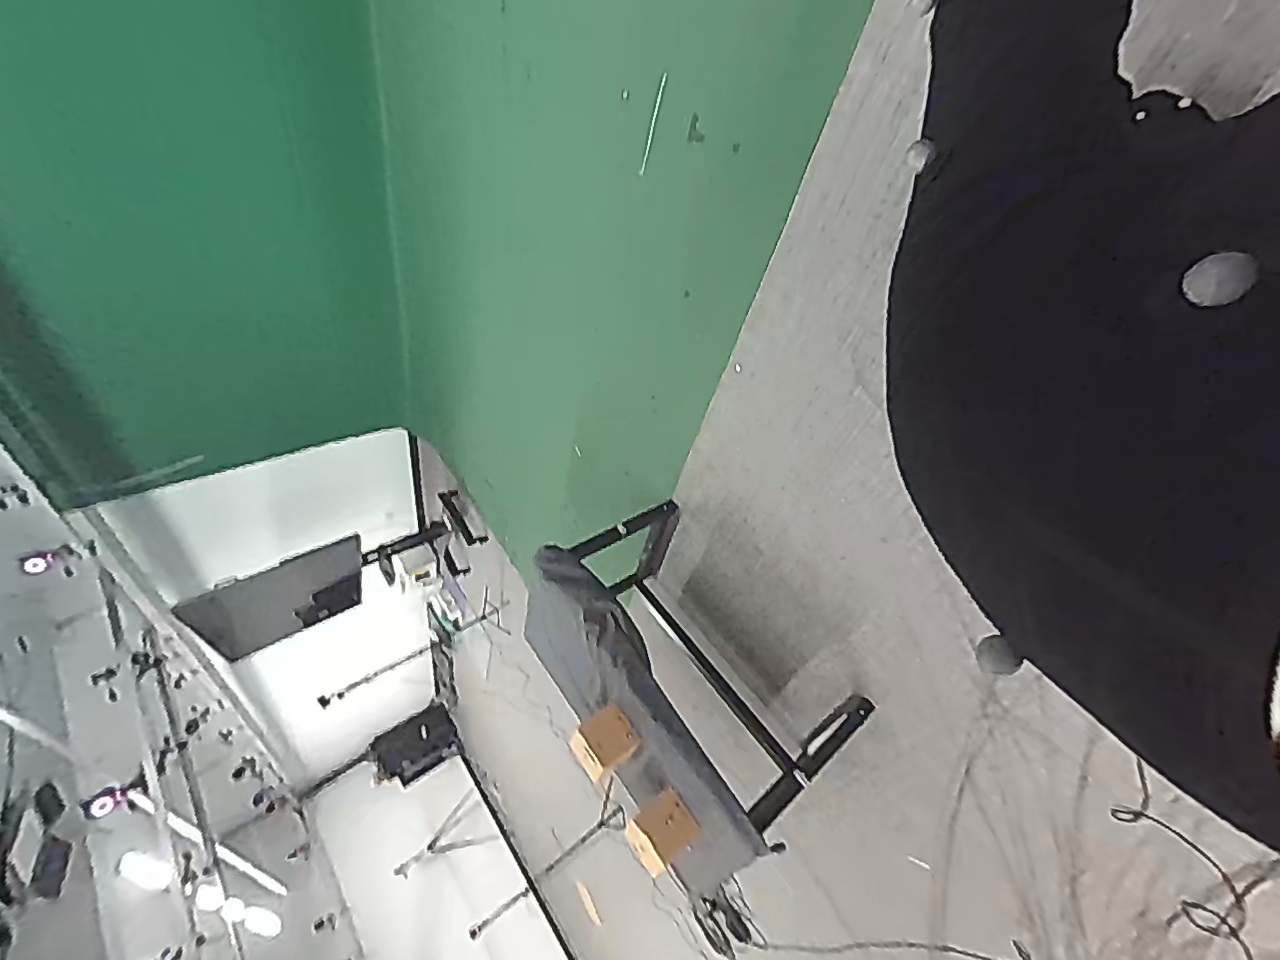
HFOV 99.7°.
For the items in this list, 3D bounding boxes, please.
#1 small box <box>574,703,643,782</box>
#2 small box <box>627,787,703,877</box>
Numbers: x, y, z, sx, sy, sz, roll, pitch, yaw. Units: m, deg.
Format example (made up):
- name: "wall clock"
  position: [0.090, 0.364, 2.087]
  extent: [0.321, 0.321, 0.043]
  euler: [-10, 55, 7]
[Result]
- name: "small box"
  position: [-0.110, 0.930, 1.928]
  extent: [0.168, 0.176, 0.179]
  euler: [48, 143, 27]
- name: "small box"
  position: [0.085, 1.160, 1.790]
  extent: [0.168, 0.176, 0.179]
  euler: [46, 140, 29]
